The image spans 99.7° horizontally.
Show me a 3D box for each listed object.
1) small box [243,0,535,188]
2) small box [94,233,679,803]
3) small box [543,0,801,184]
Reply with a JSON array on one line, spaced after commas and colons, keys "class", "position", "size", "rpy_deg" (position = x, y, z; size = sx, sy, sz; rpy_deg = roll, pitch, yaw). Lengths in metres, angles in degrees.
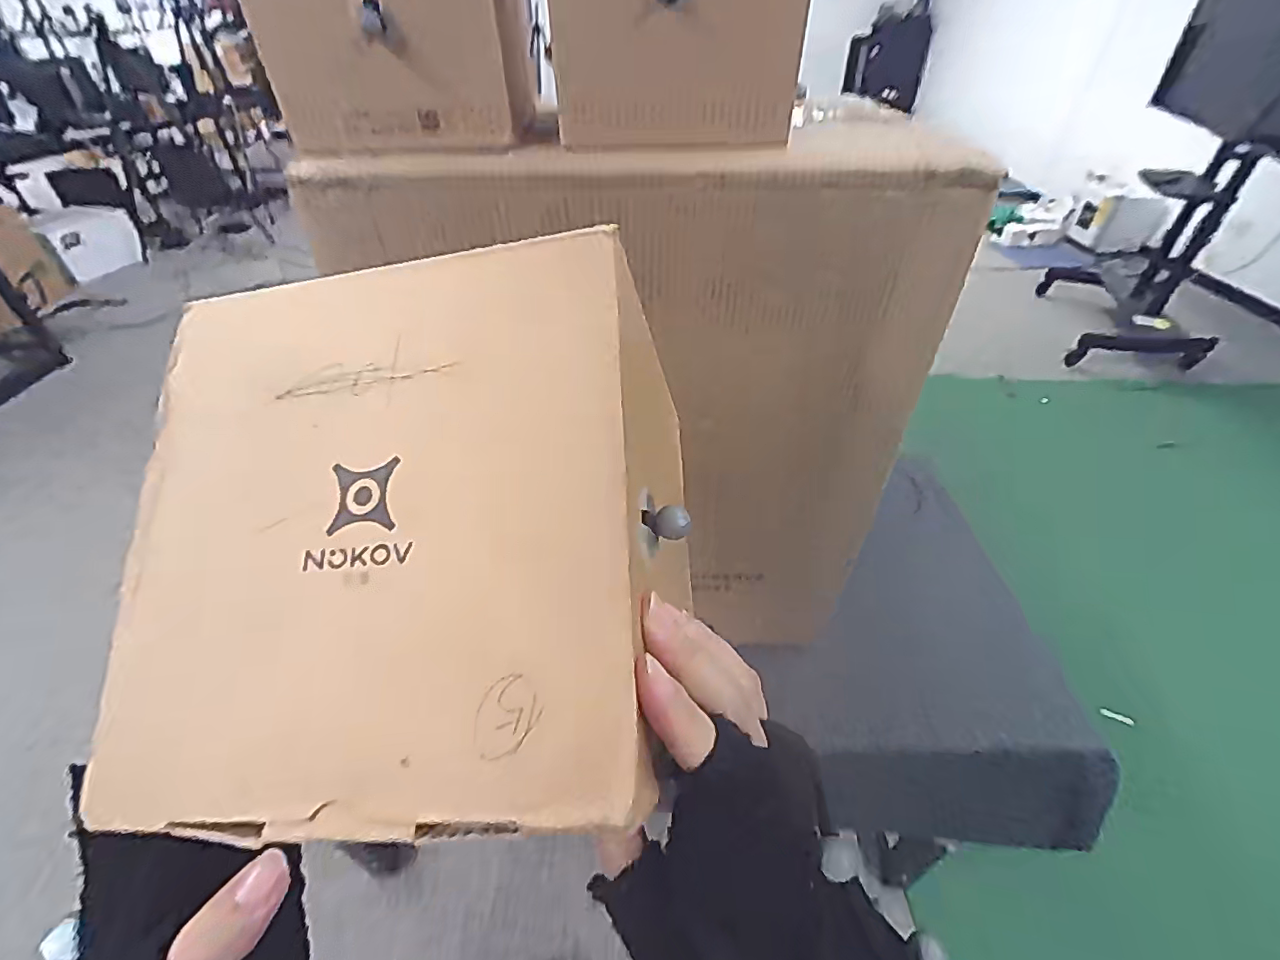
[{"class": "small box", "position": [-0.183, -0.347, 0.438], "size": [0.168, 0.176, 0.179], "rpy_deg": [-5, 43, -2]}, {"class": "small box", "position": [-0.076, 0.027, 0.251], "size": [0.168, 0.176, 0.179], "rpy_deg": [-6, 73, 10]}, {"class": "small box", "position": [0.024, -0.350, 0.433], "size": [0.179, 0.176, 0.168], "rpy_deg": [0, 43, 1]}]
